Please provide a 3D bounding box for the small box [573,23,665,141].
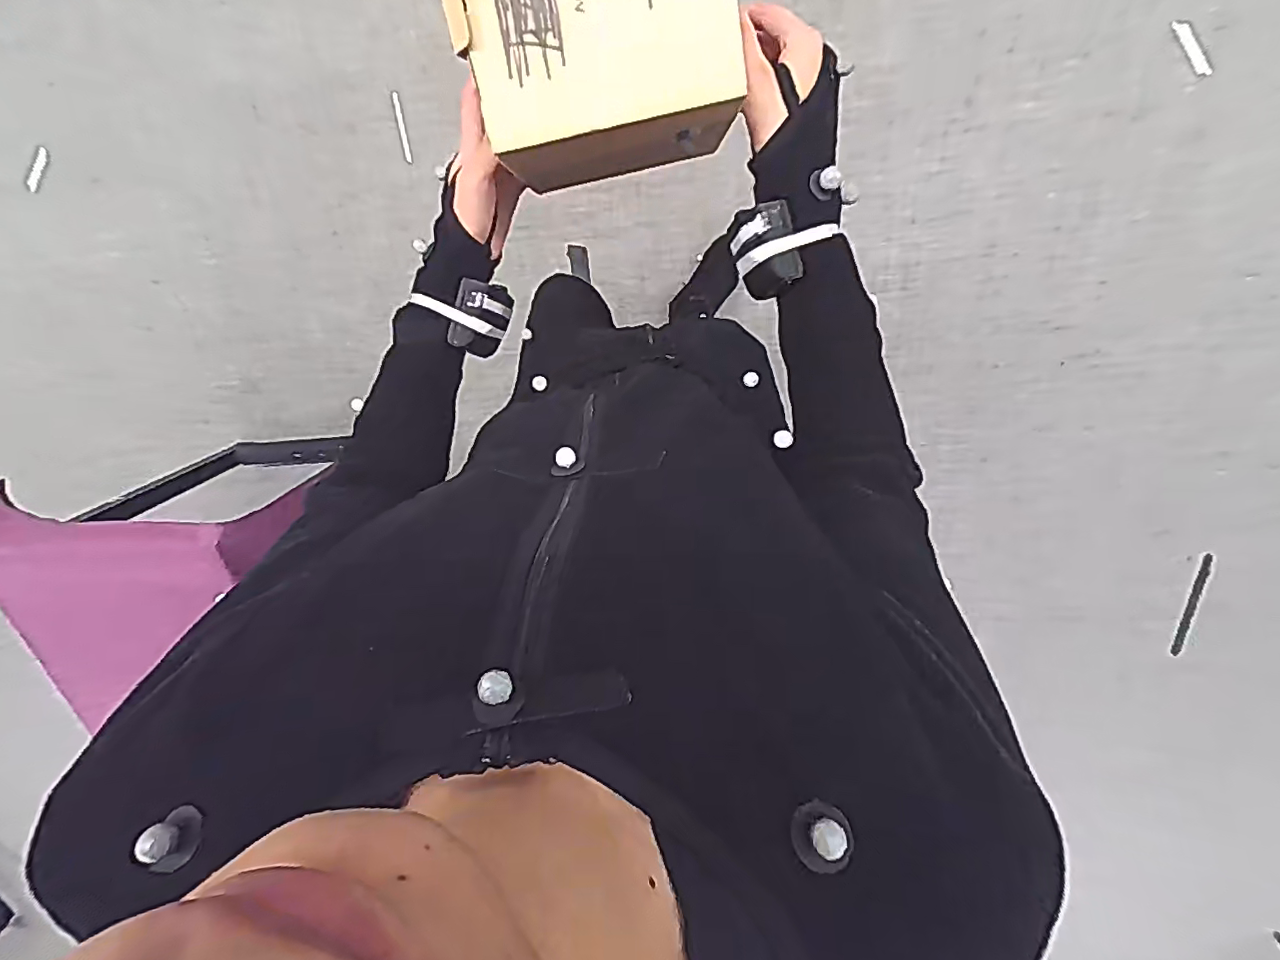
[{"bbox_3d":[-0.039,-0.883,1.220,0.168,0.176,0.179,-6,114,9],"label":"small box"}]
